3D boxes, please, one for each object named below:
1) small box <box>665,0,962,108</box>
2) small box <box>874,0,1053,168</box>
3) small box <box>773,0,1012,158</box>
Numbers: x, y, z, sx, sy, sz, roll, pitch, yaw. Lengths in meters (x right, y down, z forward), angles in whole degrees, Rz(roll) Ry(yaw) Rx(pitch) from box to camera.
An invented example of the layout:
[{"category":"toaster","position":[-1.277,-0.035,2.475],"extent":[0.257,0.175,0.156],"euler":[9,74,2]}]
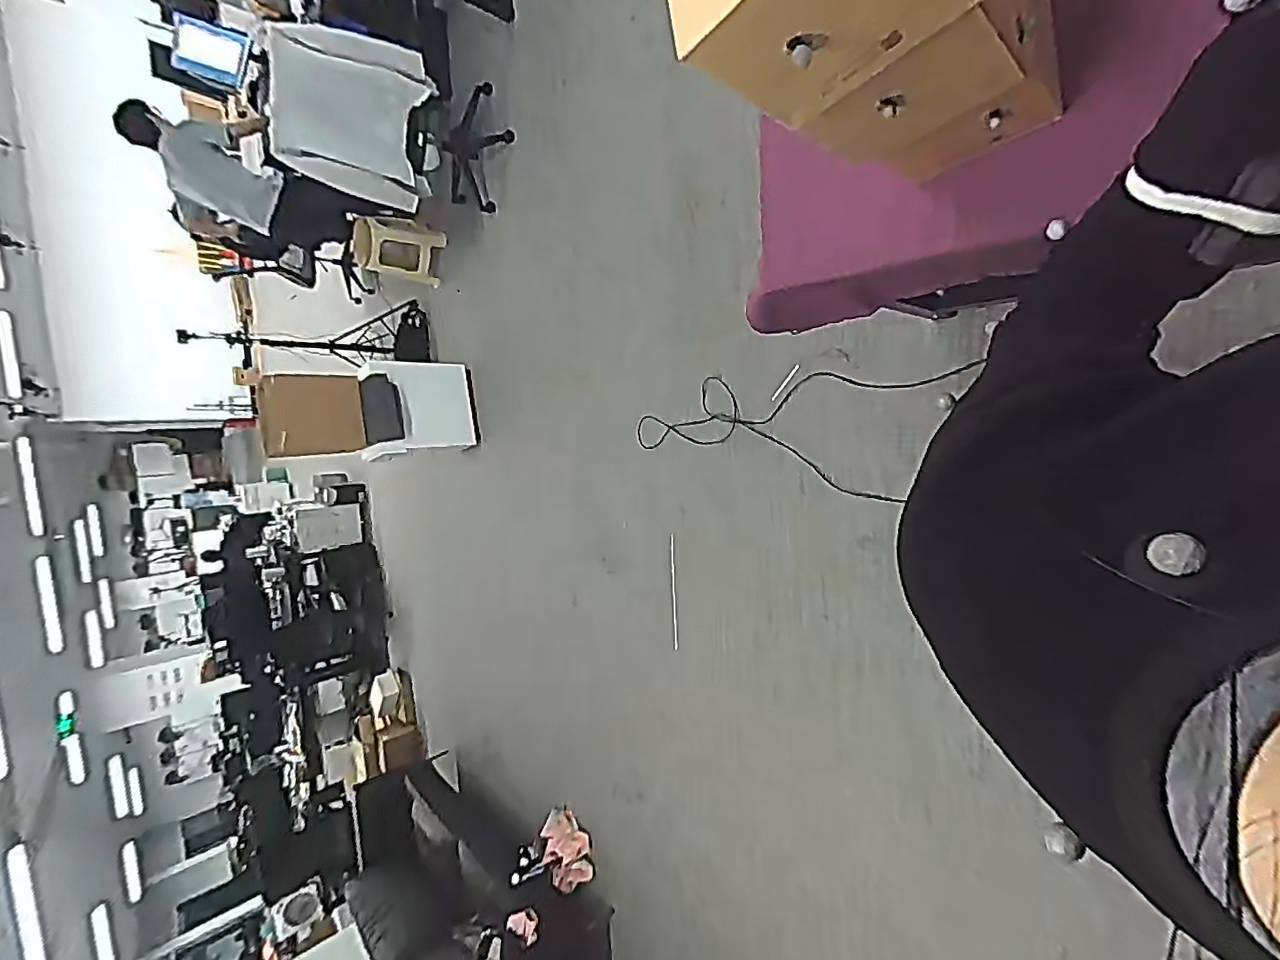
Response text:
[{"category":"small box","position":[0.128,-0.425,0.410],"extent":[0.168,0.176,0.179],"euler":[-10,88,47]},{"category":"small box","position":[0.361,-0.496,0.631],"extent":[0.168,0.176,0.179],"euler":[-4,92,47]},{"category":"small box","position":[0.241,-0.454,0.525],"extent":[0.179,0.176,0.168],"euler":[-5,92,48]}]
